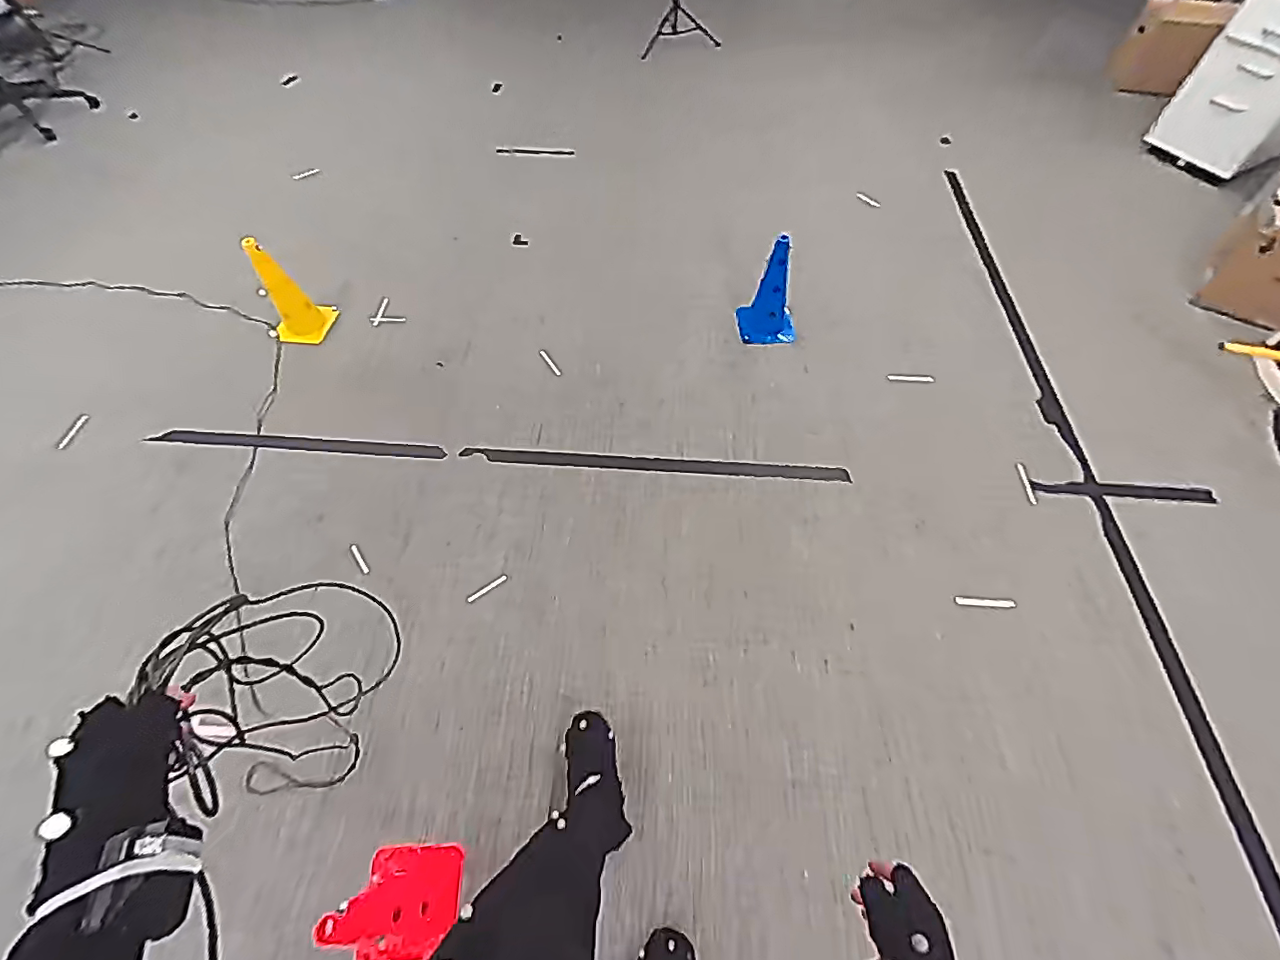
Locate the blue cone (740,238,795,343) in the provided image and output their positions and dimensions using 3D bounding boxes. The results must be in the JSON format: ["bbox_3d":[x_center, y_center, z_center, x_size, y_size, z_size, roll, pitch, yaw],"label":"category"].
[{"bbox_3d":[0.467,-0.665,1.870,0.193,0.380,0.192,-1,58,1],"label":"blue cone"}]

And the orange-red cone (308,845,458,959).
[{"bbox_3d":[-0.491,0.794,0.983,0.199,0.360,0.198,0,59,0],"label":"orange-red cone"}]
